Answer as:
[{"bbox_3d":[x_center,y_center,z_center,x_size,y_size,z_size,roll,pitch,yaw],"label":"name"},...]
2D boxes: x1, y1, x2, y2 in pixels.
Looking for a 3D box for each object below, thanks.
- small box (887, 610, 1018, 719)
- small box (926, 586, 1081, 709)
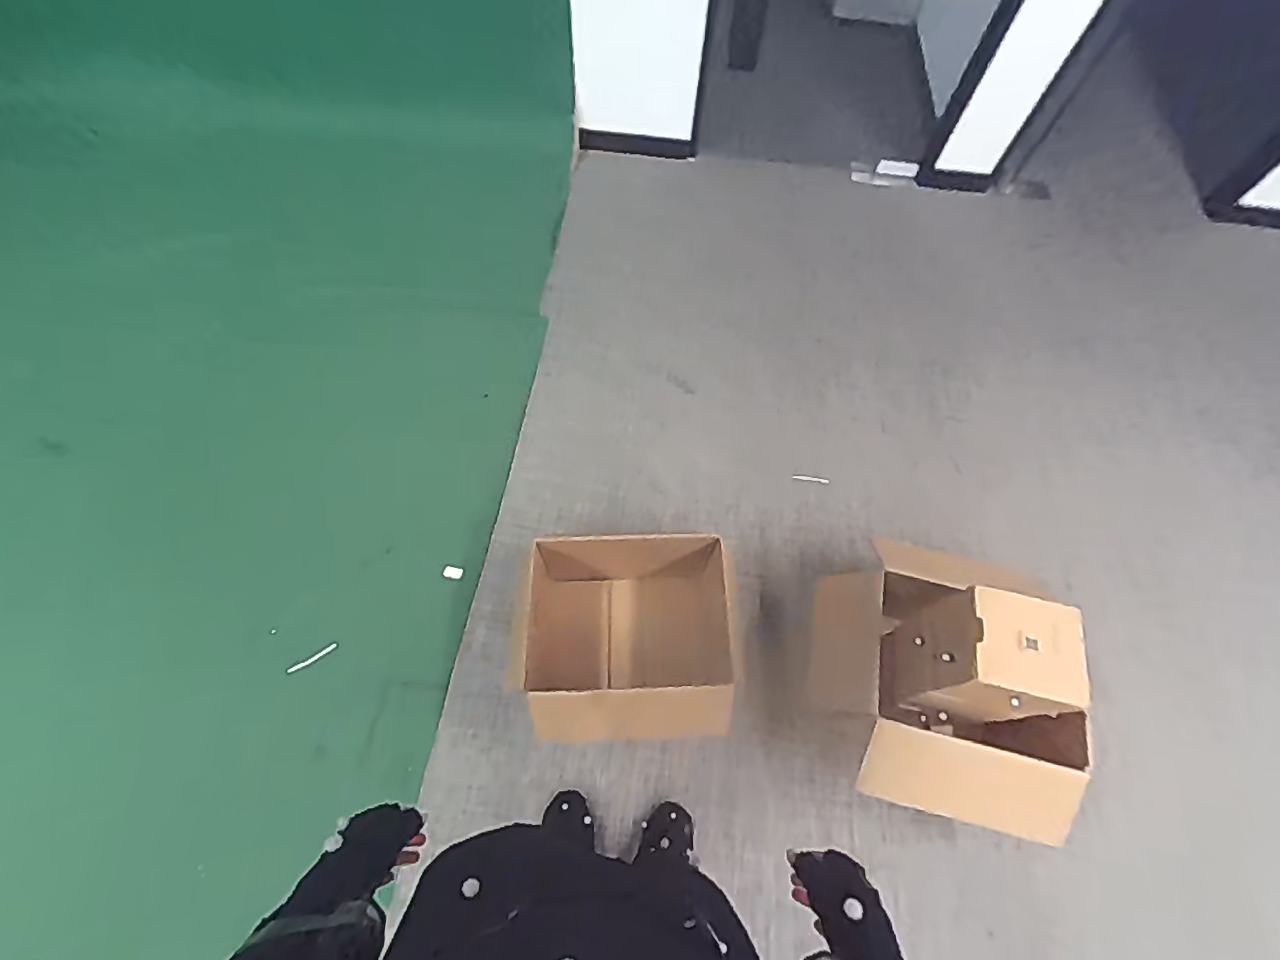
[{"bbox_3d":[0.637,0.388,1.120,0.179,0.176,0.168,12,62,6],"label":"small box"},{"bbox_3d":[0.640,0.309,0.979,0.179,0.176,0.168,12,64,5],"label":"small box"}]
